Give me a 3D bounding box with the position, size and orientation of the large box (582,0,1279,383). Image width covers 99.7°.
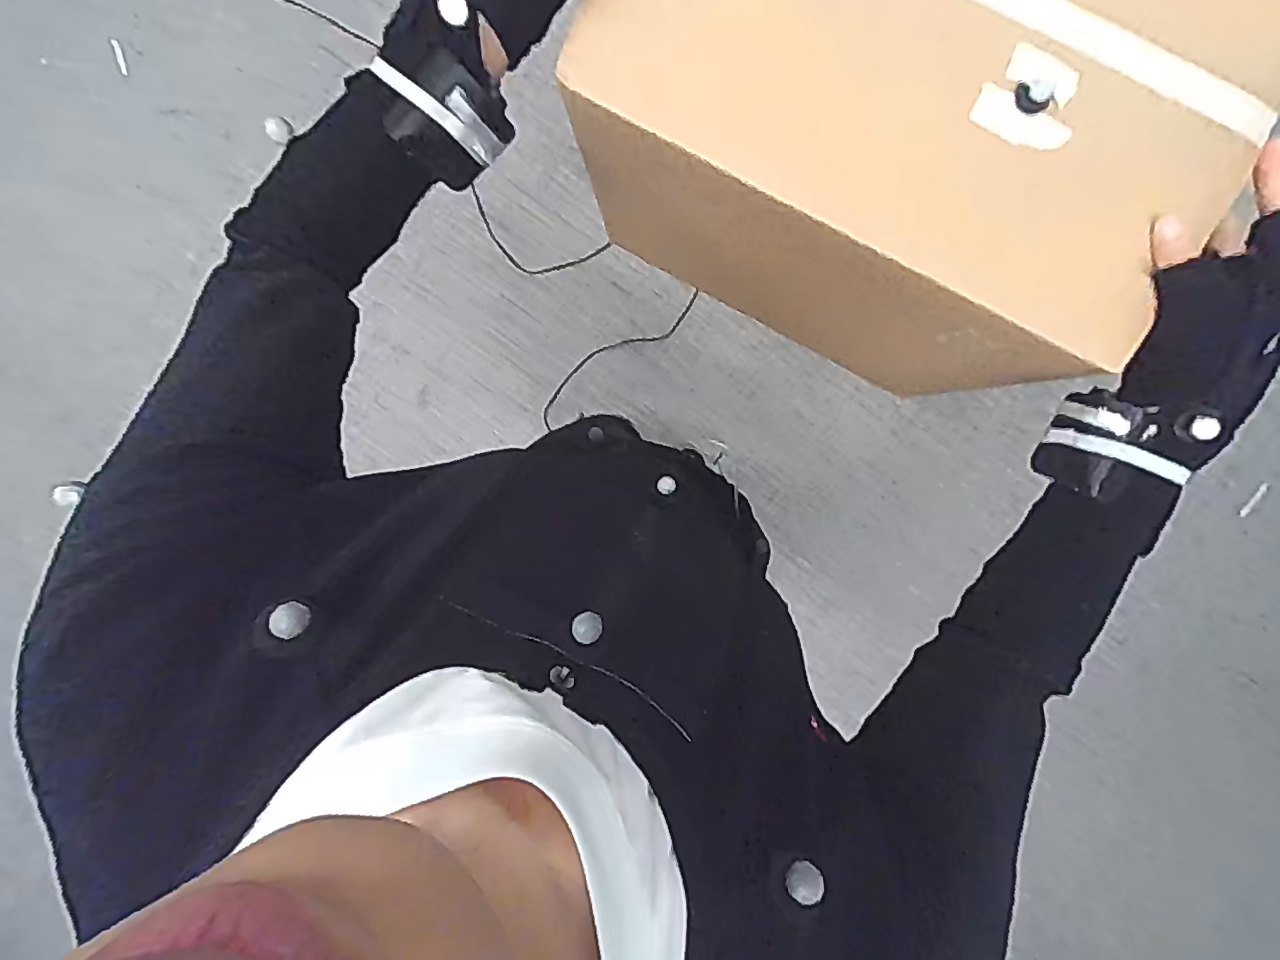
[{"bbox_3d":[0.206,-0.320,0.484,0.408,0.320,0.320,27,97,-1],"label":"large box"}]
